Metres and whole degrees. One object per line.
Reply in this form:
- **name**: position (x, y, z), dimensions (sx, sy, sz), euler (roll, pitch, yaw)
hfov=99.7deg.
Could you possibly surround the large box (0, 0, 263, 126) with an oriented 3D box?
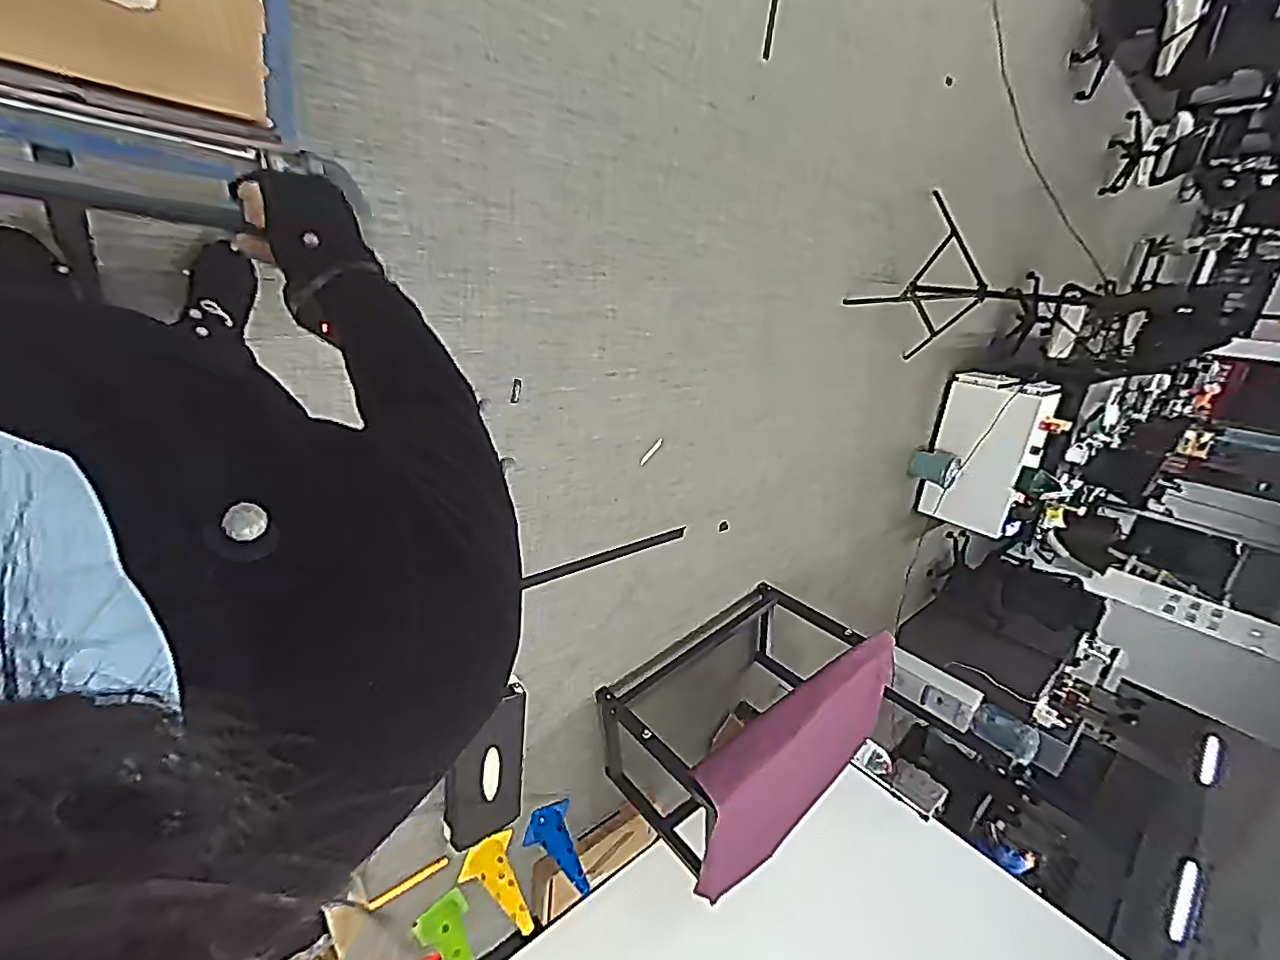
- **large box**: position (-0.759, -0.686, 0.686), dimensions (0.408, 0.320, 0.320), euler (-9, 121, -41)
